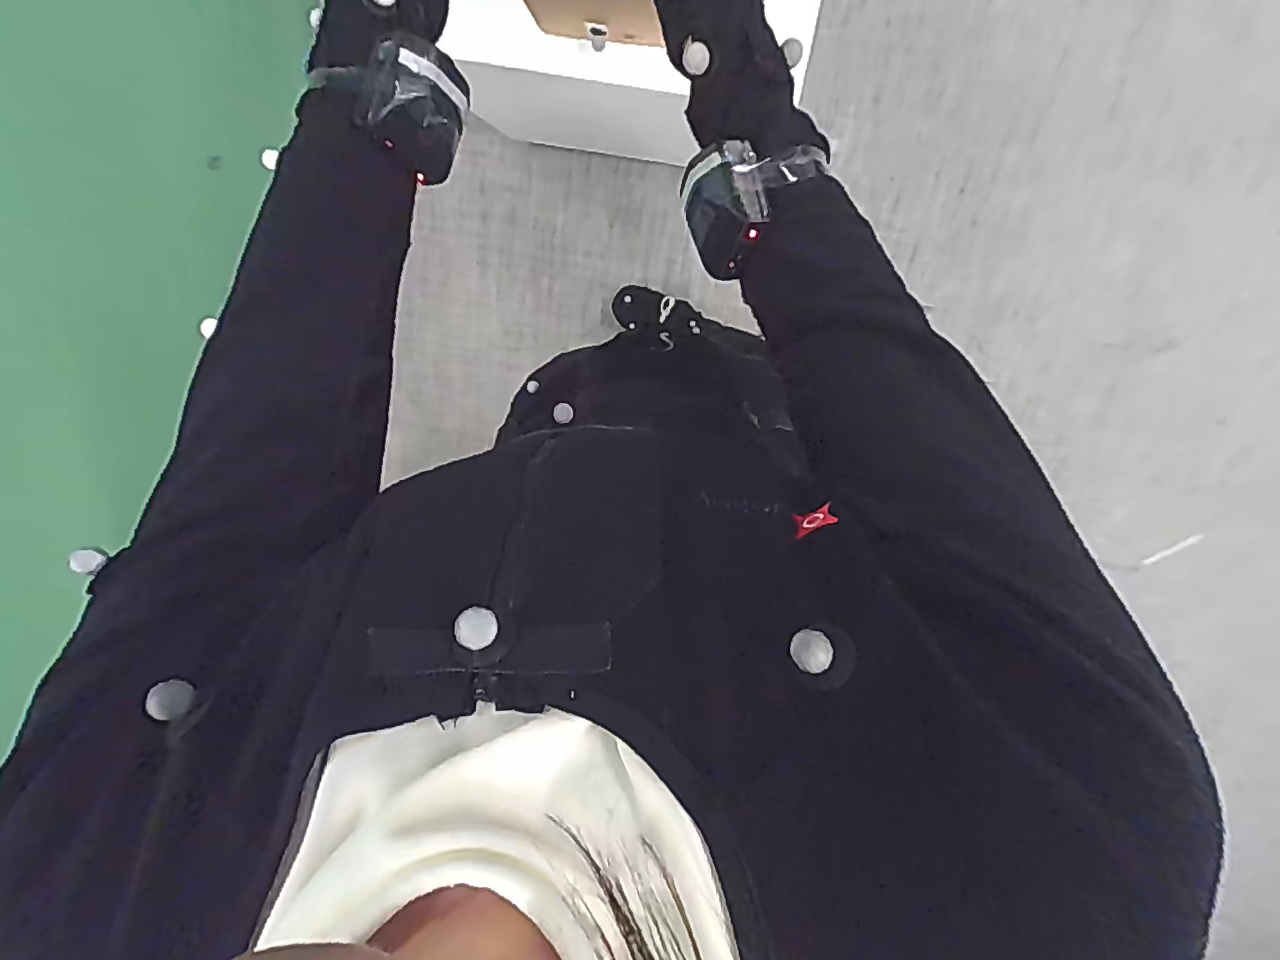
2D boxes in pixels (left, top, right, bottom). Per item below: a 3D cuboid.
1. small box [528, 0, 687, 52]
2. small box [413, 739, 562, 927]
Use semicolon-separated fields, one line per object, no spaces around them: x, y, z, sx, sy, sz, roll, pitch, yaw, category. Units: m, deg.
-0.032;-0.551;0.517;0.168;0.176;0.179;7;114;3;small box
-0.224;0.528;0.823;0.179;0.176;0.168;11;114;0;small box
